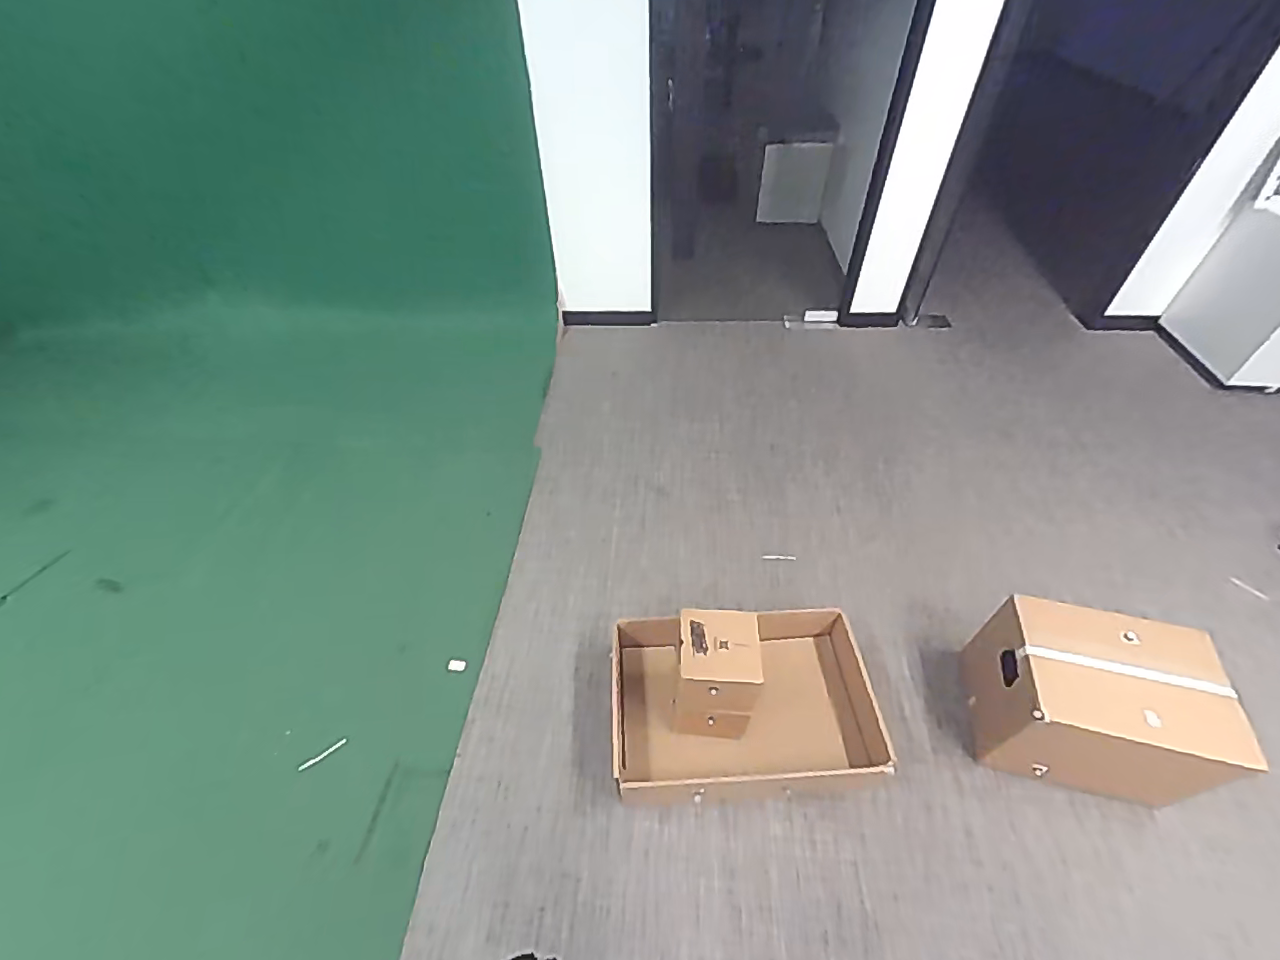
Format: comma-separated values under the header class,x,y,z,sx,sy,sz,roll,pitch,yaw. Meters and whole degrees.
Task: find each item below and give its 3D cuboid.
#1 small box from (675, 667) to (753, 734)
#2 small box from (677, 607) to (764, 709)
class,x,y,z,sx,sy,sz,roll,pitch,yaw
small box,0.180,0.522,1.354,0.179,0.176,0.168,4,47,2
small box,0.177,0.409,1.235,0.179,0.176,0.168,3,47,2
